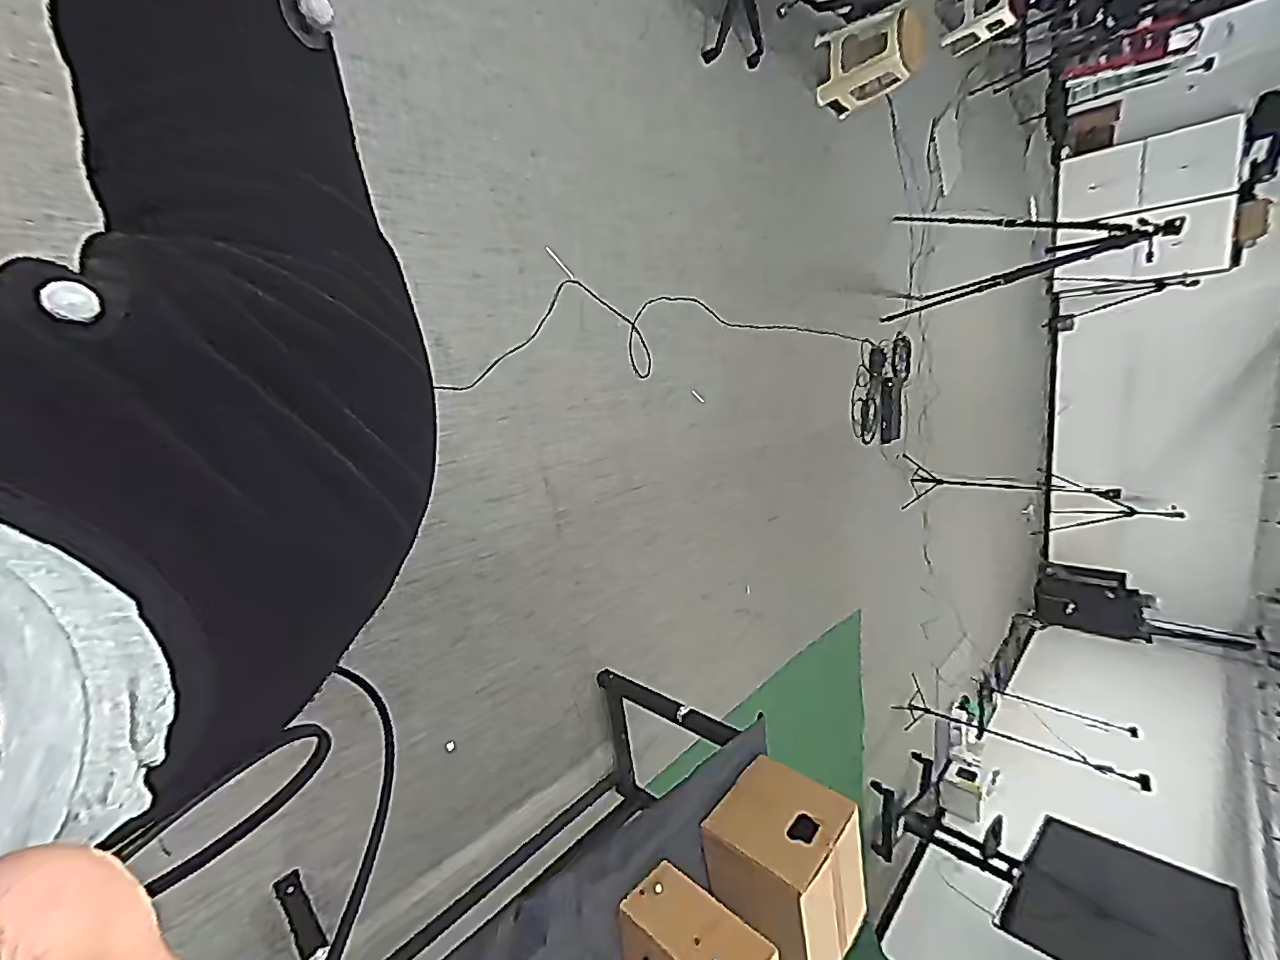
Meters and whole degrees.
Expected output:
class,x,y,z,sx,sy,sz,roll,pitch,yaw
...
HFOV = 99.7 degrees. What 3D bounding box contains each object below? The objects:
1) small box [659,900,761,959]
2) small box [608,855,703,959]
class,x,y,z,sx,sy,sz,roll,pitch,yaw
small box,0.155,1.098,1.212,0.168,0.176,0.179,-16,108,-43
small box,0.039,1.080,1.324,0.168,0.176,0.179,-15,106,-44
